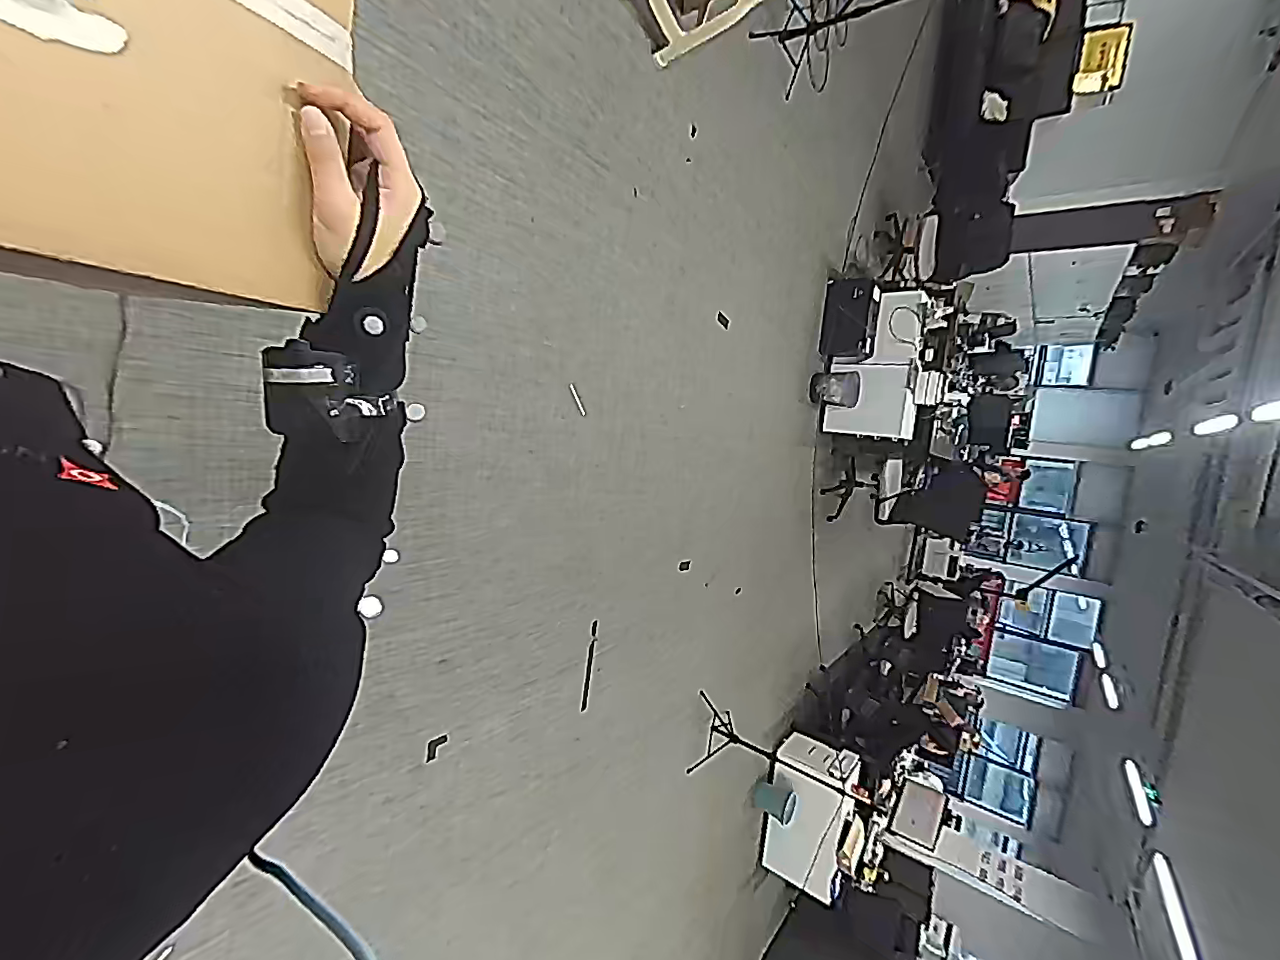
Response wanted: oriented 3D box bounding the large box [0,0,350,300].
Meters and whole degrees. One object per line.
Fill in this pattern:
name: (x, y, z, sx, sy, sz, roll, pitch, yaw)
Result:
large box: (-0.417, -0.285, 0.245, 0.408, 0.320, 0.320, -6, 108, -60)
